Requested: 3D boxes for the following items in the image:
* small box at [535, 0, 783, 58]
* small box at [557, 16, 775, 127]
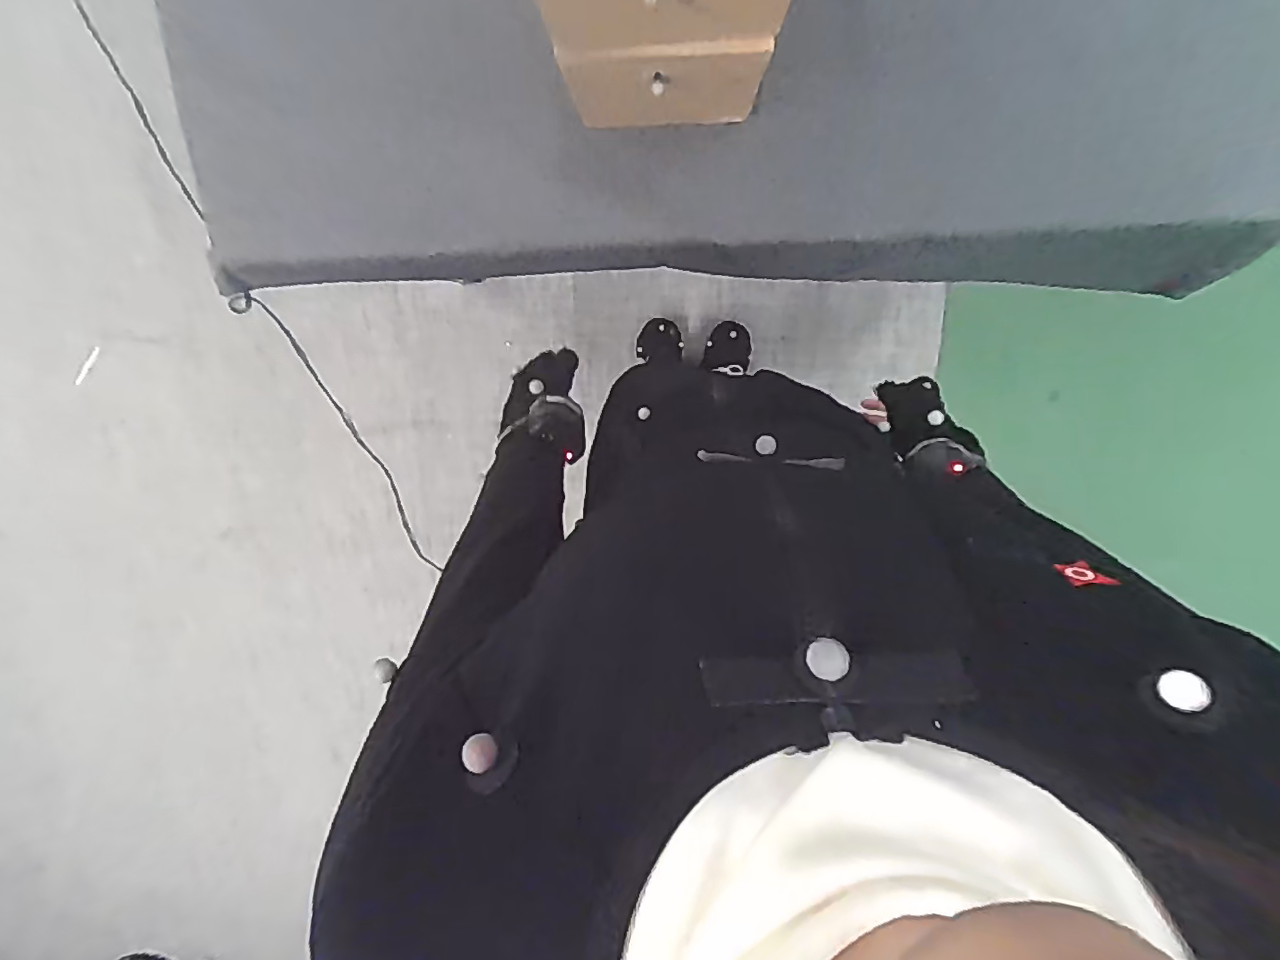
[{"bbox_3d":[0.013,-0.393,0.330,0.179,0.176,0.168,-1,107,5],"label":"small box"},{"bbox_3d":[0.023,-0.438,0.488,0.179,0.176,0.168,0,108,3],"label":"small box"}]
